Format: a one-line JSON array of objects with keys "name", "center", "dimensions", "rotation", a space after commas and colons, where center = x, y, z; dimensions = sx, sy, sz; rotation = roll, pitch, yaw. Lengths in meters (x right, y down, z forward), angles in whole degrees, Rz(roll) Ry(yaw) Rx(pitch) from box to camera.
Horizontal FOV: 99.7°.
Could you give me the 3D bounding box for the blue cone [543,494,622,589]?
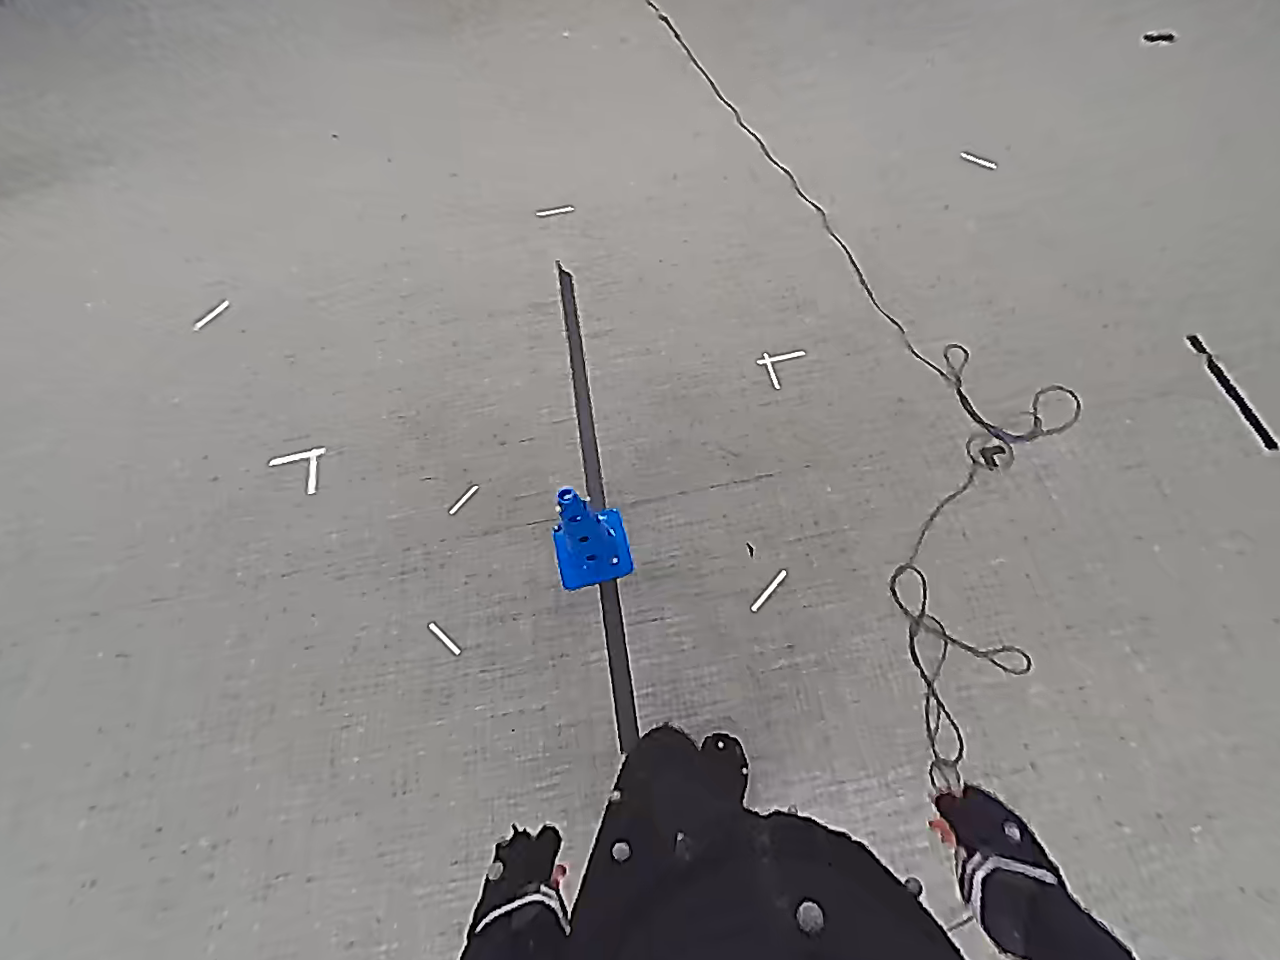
[{"name": "blue cone", "center": [-0.166, 0.122, 1.343], "dimensions": [0.192, 0.380, 0.193], "rotation": [-15, 64, -1]}]
